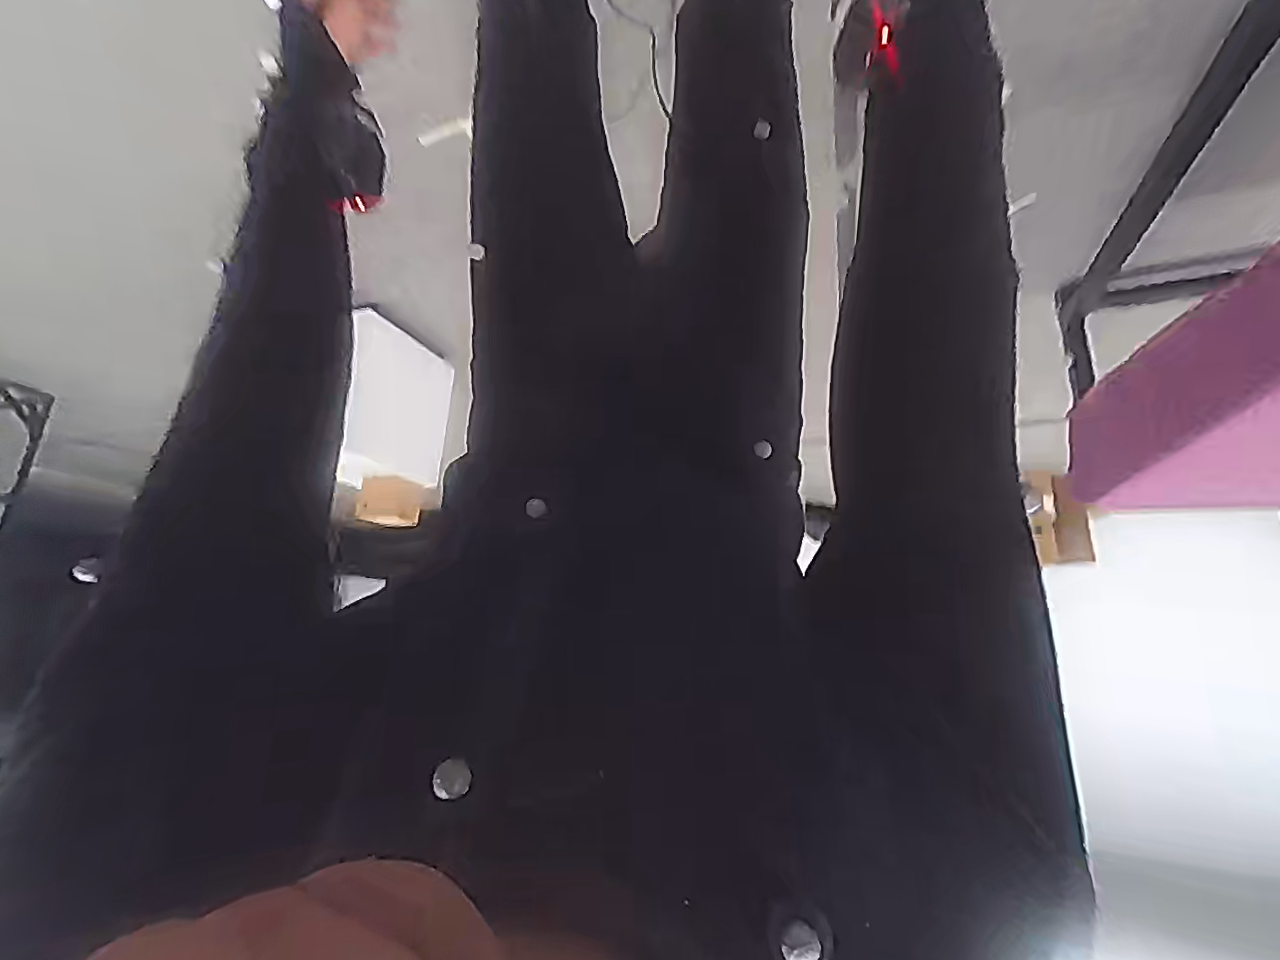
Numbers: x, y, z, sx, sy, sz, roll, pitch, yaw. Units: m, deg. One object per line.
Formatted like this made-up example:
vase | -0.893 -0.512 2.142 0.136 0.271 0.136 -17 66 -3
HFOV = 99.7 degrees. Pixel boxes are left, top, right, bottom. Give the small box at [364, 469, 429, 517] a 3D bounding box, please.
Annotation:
small box | -1.014 0.055 2.263 0.179 0.176 0.168 -2 165 22
